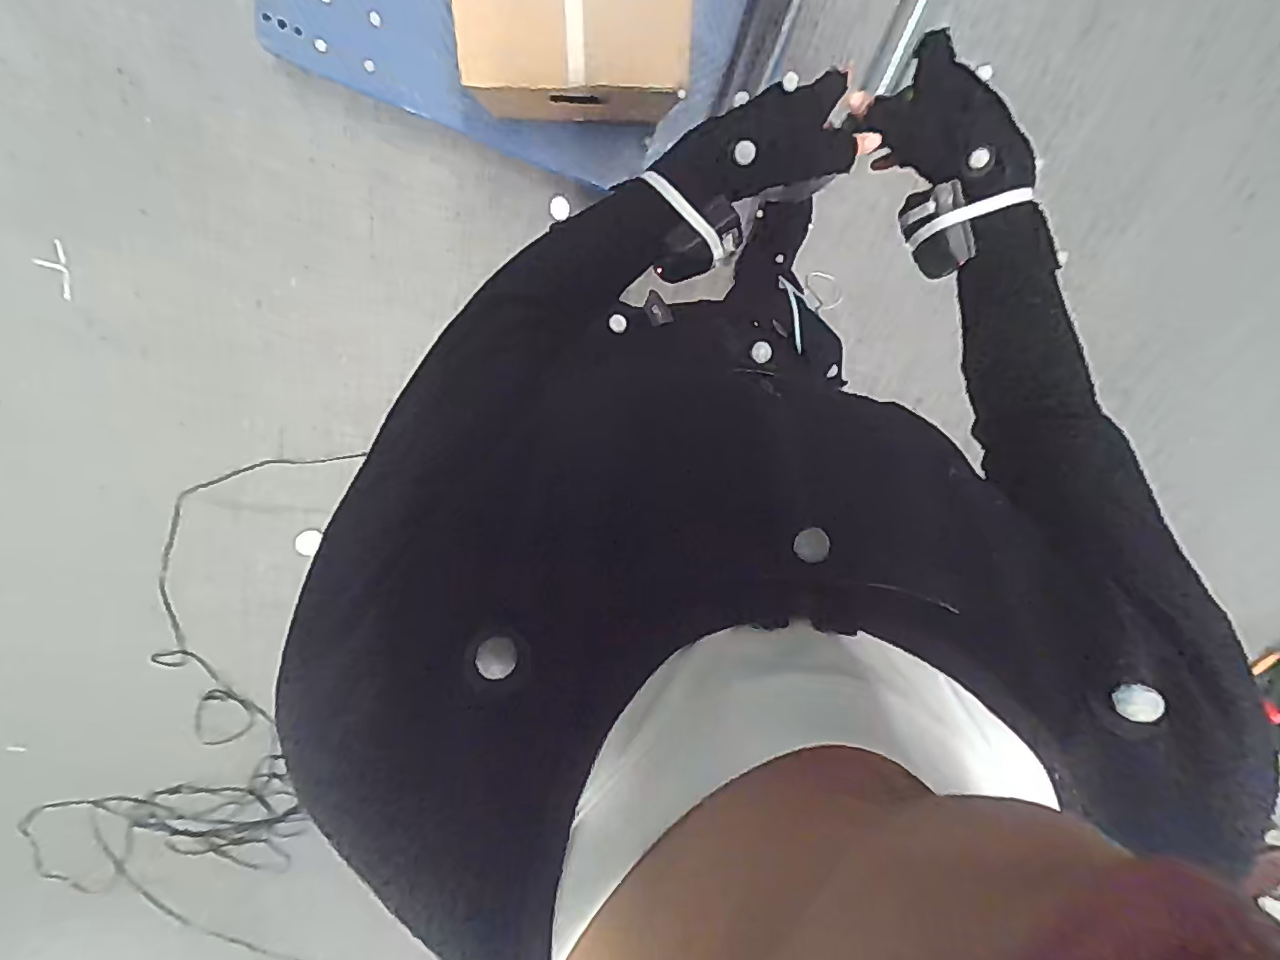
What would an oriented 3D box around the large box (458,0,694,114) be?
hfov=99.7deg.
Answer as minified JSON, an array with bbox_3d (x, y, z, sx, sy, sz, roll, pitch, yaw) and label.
[{"bbox_3d":[-0.095,-0.792,0.781,0.320,0.320,0.408,-1,118,-5],"label":"large box"}]
